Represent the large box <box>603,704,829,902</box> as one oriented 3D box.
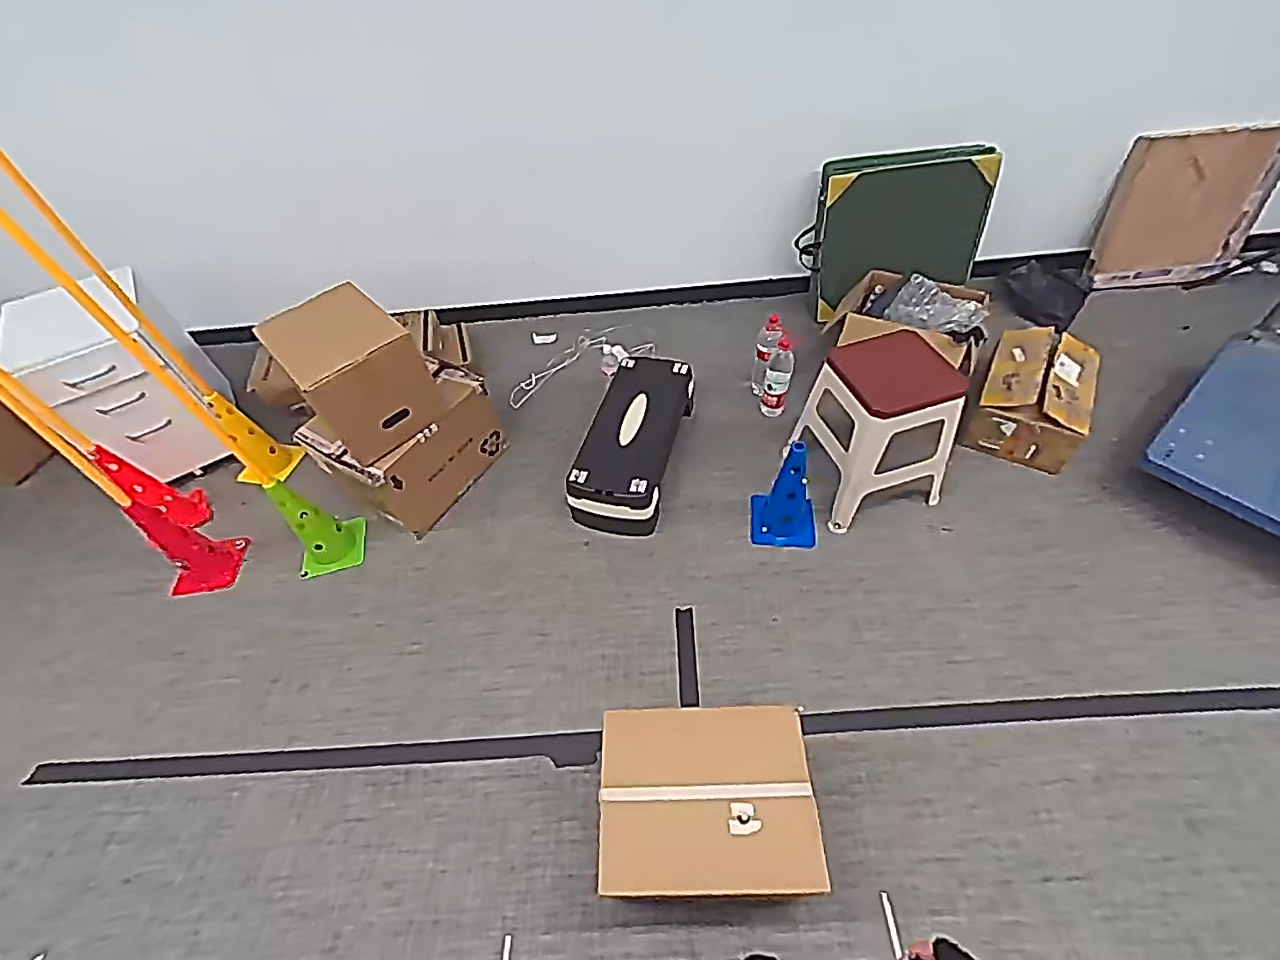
[{"bbox_3d":[0.135,0.689,1.148,0.408,0.320,0.320,-3,51,2],"label":"large box"}]
